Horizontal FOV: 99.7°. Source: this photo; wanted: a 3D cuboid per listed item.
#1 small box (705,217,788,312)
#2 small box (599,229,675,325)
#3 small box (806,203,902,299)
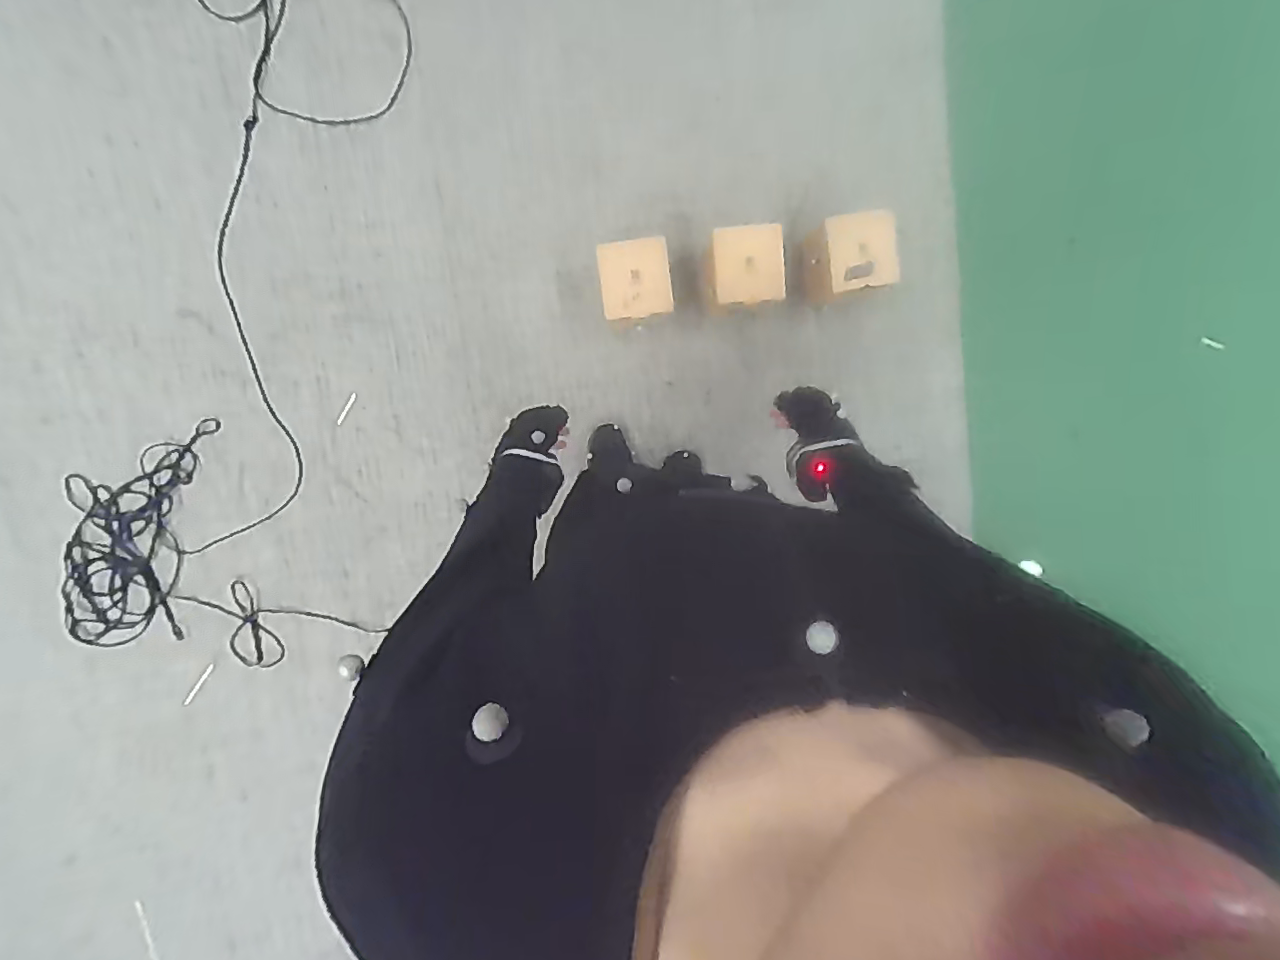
[{"bbox_3d":[0.257,-0.526,1.338,0.168,0.176,0.179,-5,97,-1],"label":"small box"},{"bbox_3d":[-0.009,-0.493,1.332,0.168,0.176,0.179,-7,98,1],"label":"small box"},{"bbox_3d":[0.524,-0.557,1.340,0.168,0.176,0.179,-9,97,0],"label":"small box"}]
